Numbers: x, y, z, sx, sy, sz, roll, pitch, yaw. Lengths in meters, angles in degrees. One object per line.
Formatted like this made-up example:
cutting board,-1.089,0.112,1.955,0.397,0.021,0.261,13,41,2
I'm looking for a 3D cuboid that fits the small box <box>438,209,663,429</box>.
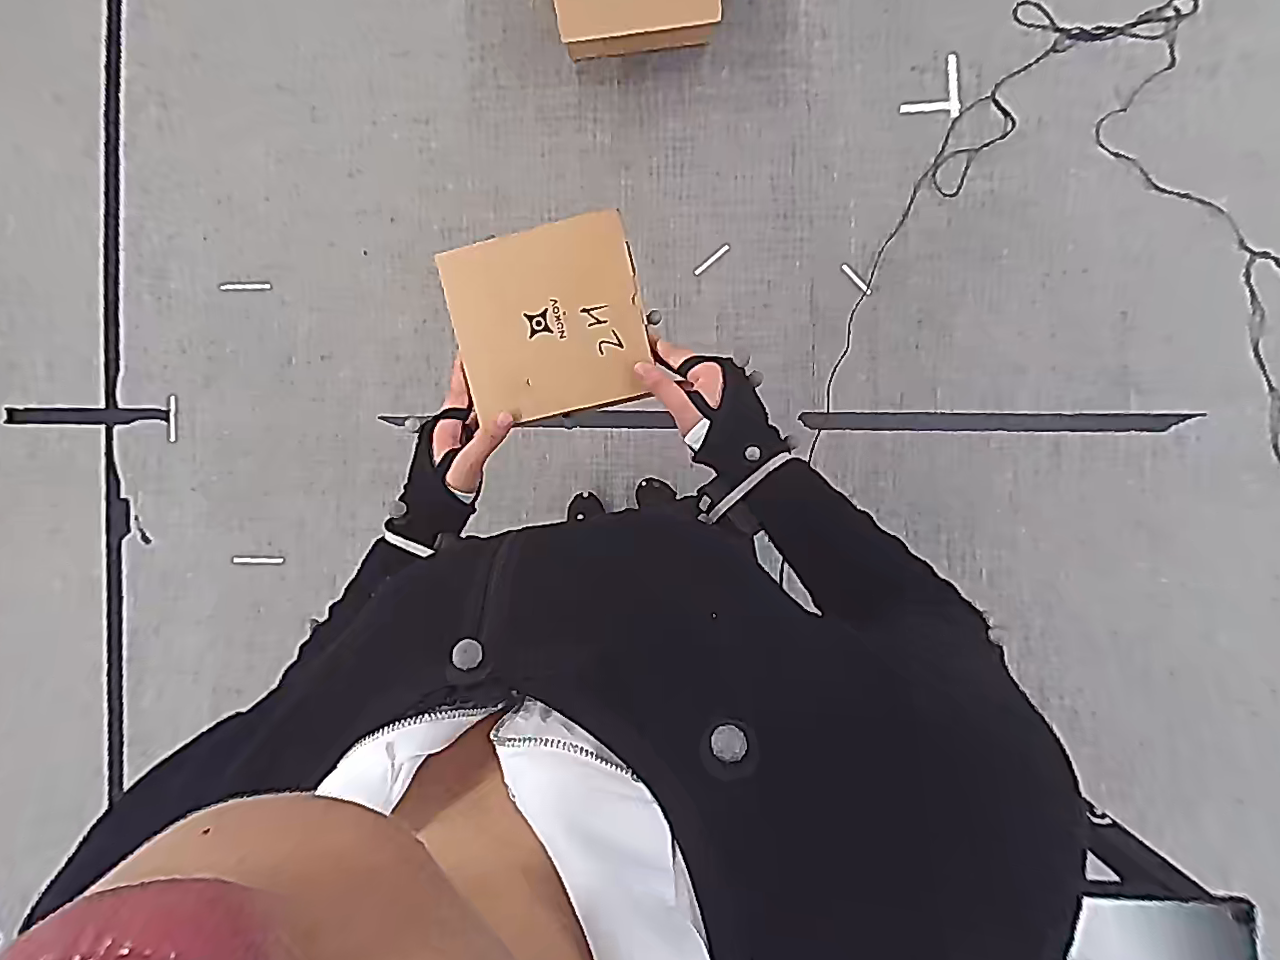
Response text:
small box,-0.075,-0.150,0.560,0.179,0.176,0.168,-11,98,4
